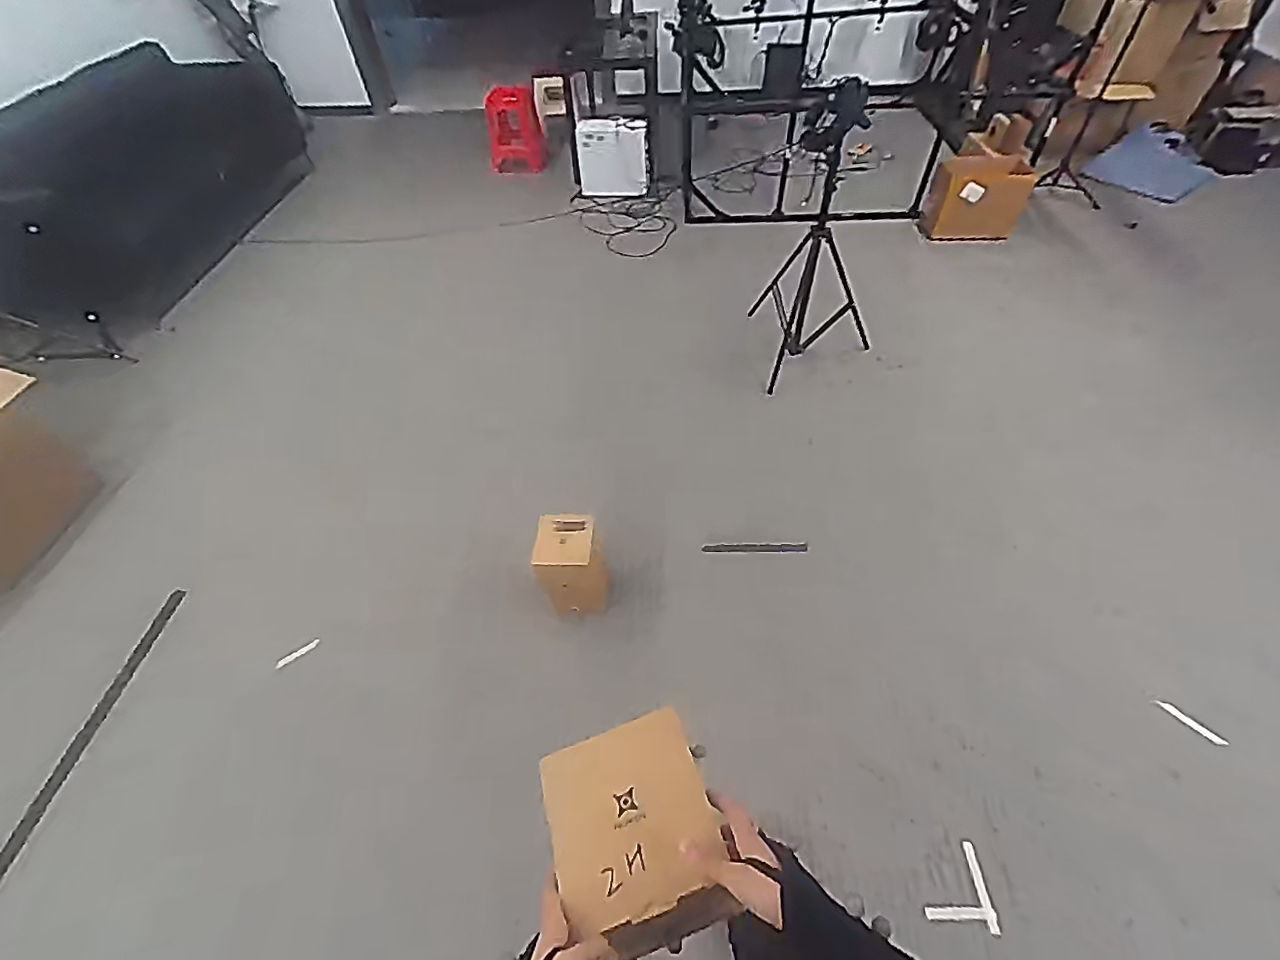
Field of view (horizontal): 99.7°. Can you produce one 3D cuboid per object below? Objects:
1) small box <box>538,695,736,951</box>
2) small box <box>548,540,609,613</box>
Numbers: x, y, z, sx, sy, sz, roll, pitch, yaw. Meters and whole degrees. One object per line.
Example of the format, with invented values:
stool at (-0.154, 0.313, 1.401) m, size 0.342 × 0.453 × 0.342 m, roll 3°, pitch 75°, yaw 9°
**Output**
small box at (-0.002, 0.385, 0.612) m, size 0.168 × 0.176 × 0.179 m, roll -20°, pitch 42°, yaw -6°
small box at (-0.193, 0.314, 1.756) m, size 0.168 × 0.176 × 0.179 m, roll -2°, pitch 50°, yaw 3°
